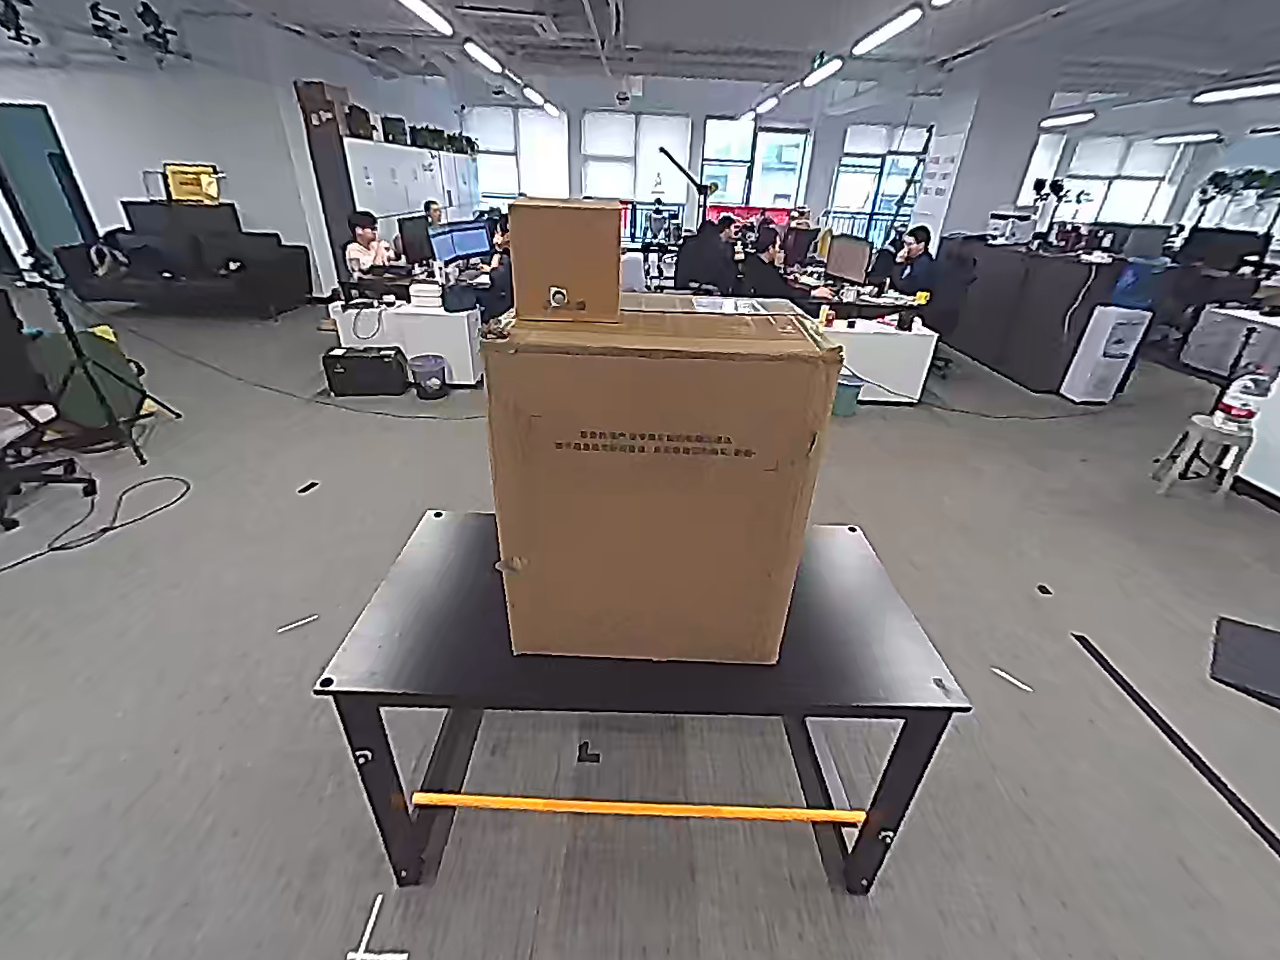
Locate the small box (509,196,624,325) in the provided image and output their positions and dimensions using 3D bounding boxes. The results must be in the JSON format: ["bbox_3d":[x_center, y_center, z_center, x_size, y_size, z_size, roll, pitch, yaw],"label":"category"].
[{"bbox_3d":[-0.115,-0.361,0.883,0.168,0.176,0.179,-1,32,-5],"label":"small box"}]
